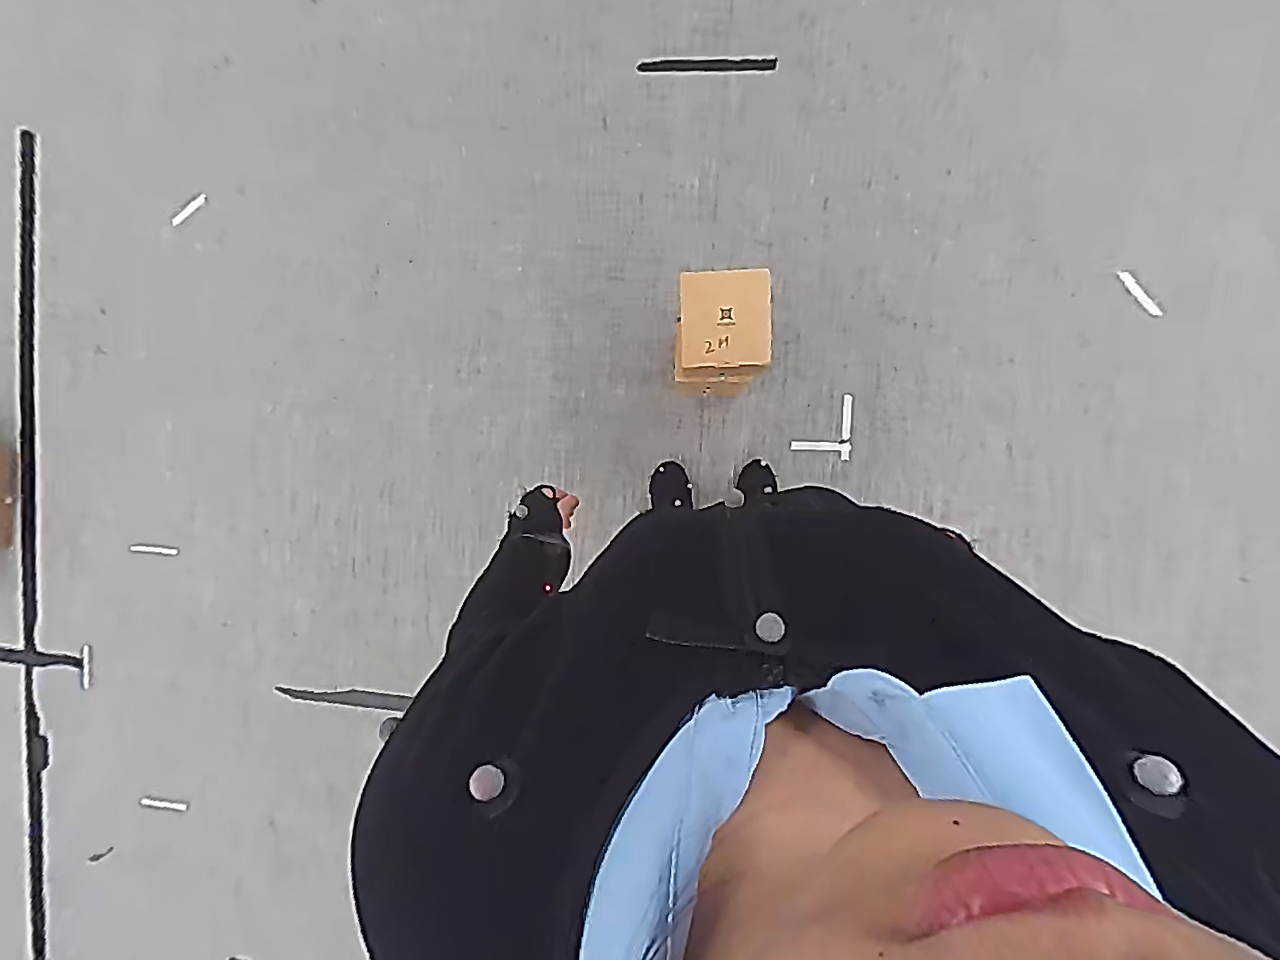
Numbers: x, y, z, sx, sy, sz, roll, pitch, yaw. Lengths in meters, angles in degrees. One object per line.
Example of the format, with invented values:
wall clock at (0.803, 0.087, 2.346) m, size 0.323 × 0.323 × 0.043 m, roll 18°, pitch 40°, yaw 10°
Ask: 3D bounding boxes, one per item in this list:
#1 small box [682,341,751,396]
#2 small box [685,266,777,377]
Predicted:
small box at (0.196, -0.317, 1.392) m, size 0.168 × 0.176 × 0.179 m, roll 3°, pitch 94°, yaw 4°
small box at (0.173, -0.303, 1.063) m, size 0.168 × 0.176 × 0.179 m, roll -1°, pitch 94°, yaw 5°
